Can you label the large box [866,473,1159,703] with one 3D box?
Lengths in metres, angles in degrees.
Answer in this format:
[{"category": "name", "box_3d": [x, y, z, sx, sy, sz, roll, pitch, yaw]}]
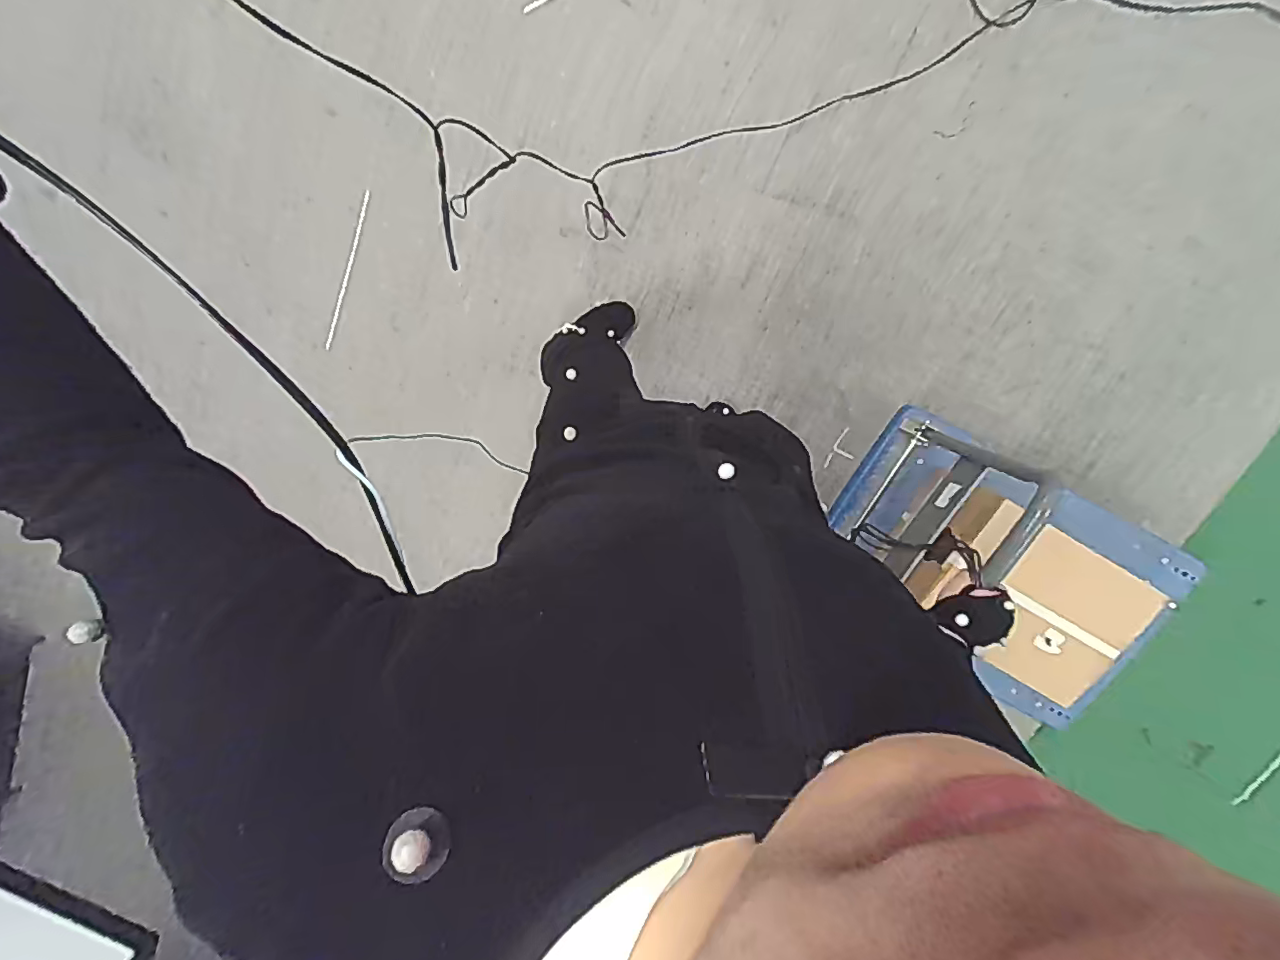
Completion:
[{"category": "large box", "box_3d": [0.829, 0.230, 1.276, 0.408, 0.320, 0.320, 30, 104, -2]}]
